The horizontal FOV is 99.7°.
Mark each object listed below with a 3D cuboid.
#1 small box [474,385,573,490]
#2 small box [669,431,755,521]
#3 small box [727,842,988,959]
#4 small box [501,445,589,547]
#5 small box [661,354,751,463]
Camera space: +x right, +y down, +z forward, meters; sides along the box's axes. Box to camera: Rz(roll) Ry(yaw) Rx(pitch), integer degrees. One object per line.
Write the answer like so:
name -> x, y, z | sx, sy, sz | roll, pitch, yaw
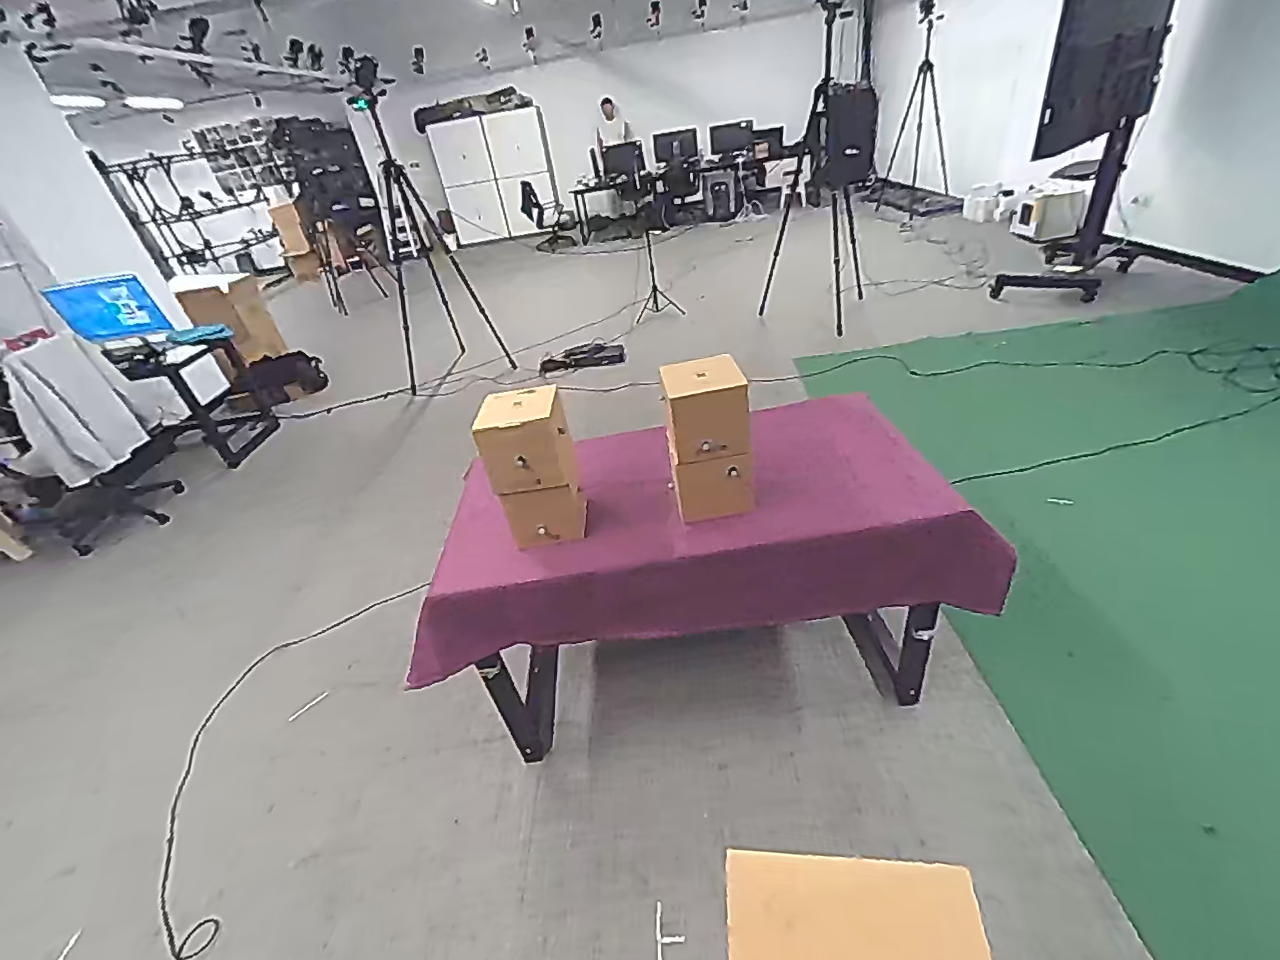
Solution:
small box -> -0.250, -0.090, 1.214 | 0.168, 0.176, 0.179 | -8, 35, 3
small box -> 0.172, -0.024, 1.293 | 0.179, 0.176, 0.168 | -10, 33, 2
small box -> 0.148, 0.384, 0.391 | 0.168, 0.176, 0.179 | -3, 49, 9
small box -> -0.221, 0.039, 1.312 | 0.168, 0.176, 0.179 | -9, 35, 3
small box -> 0.145, -0.159, 1.205 | 0.168, 0.176, 0.179 | -11, 34, 1
